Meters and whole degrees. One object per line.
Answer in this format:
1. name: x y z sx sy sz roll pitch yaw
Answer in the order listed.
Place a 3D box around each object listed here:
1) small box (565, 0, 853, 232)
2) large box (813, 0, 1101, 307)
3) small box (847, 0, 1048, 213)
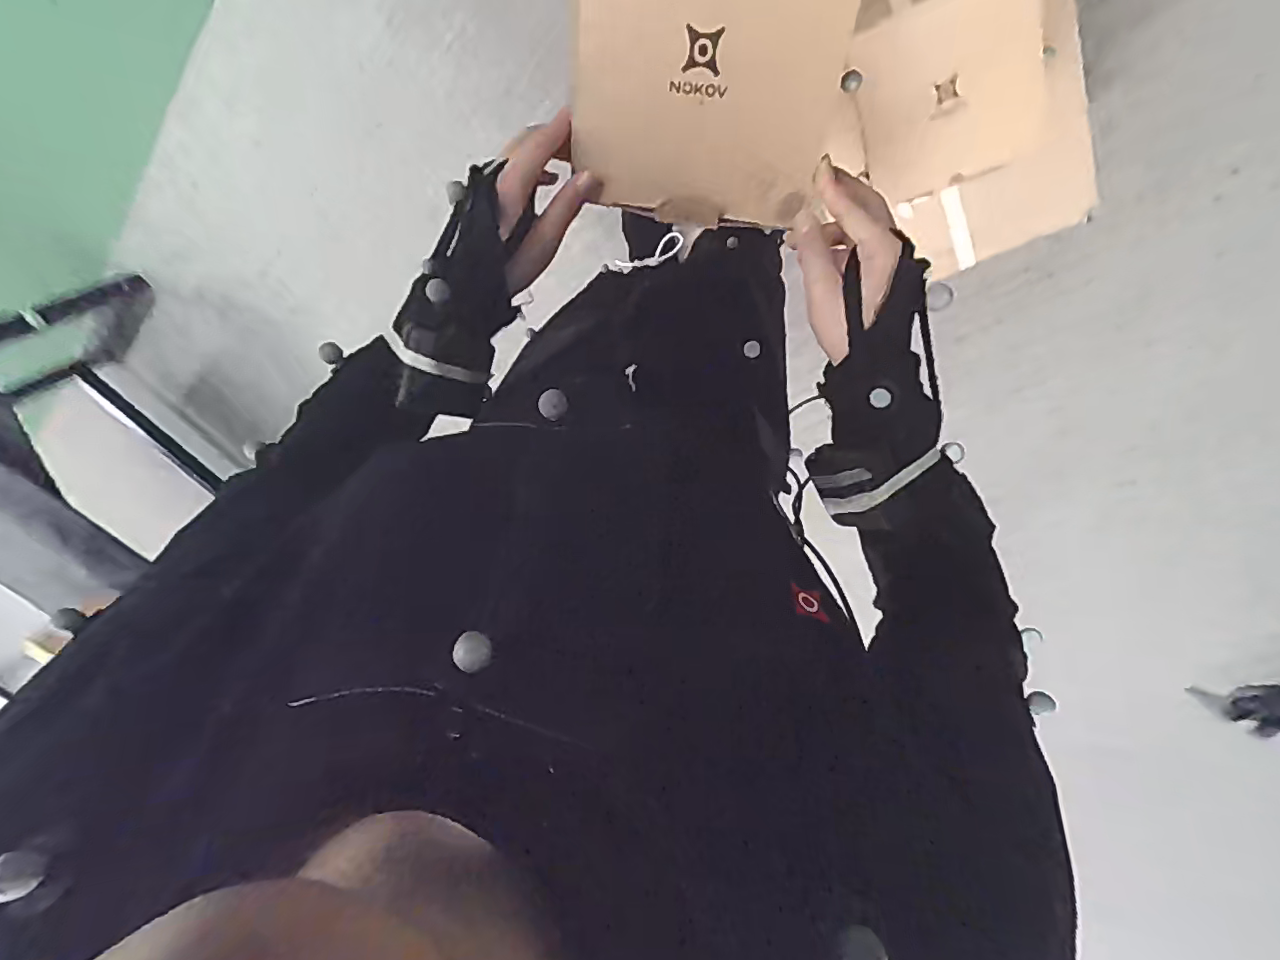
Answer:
1. small box: 0.051 -0.295 0.384 0.168 0.176 0.179 9 127 7
2. large box: 0.425 -0.553 0.814 0.320 0.320 0.408 -16 122 31
3. small box: 0.338 -0.438 0.614 0.168 0.176 0.179 -11 124 27
